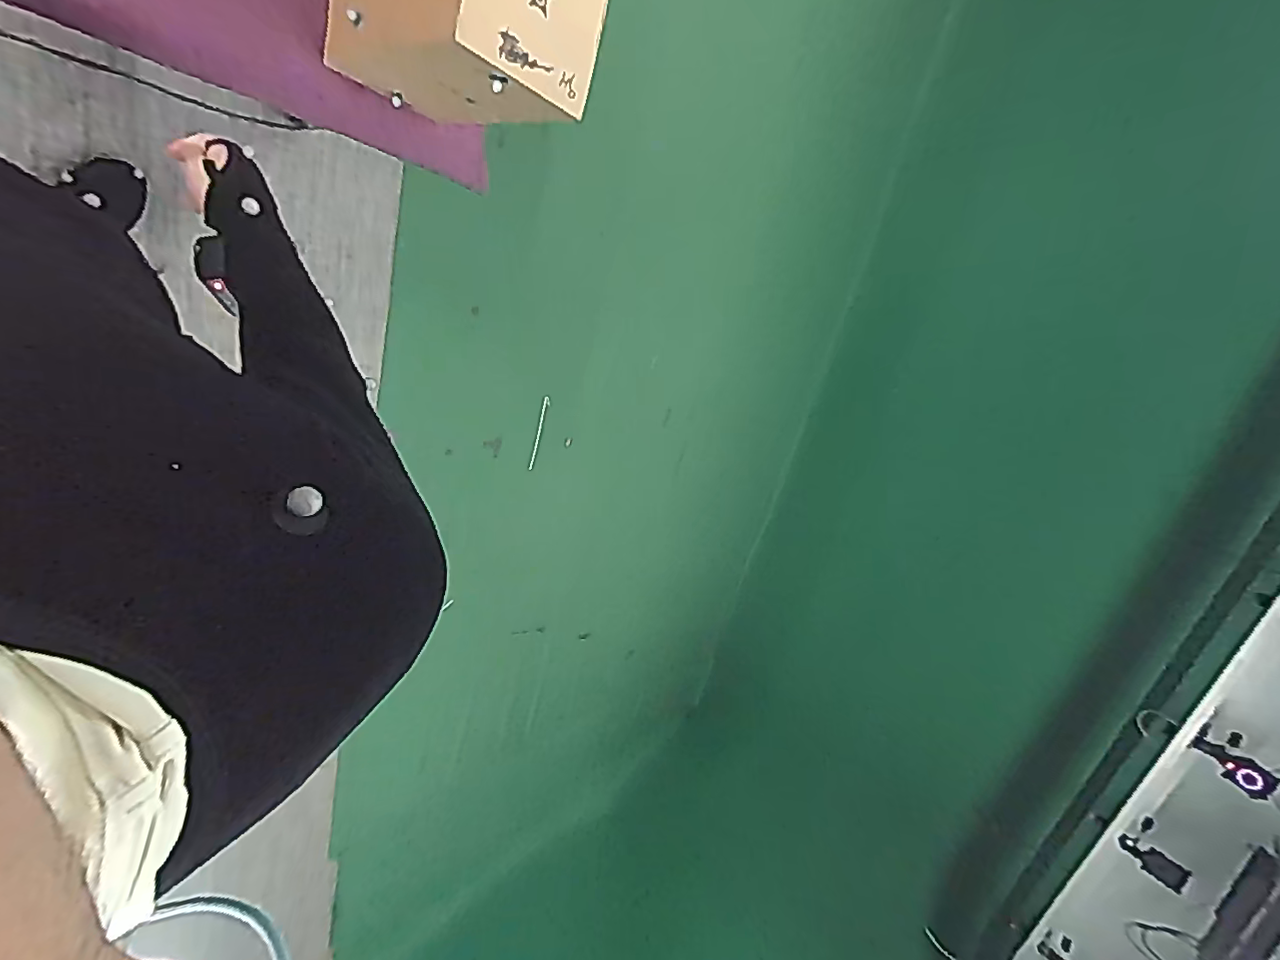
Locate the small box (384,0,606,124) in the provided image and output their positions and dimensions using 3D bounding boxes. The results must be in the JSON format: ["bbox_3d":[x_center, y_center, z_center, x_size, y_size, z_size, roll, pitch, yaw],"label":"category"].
[{"bbox_3d":[-0.159,-0.524,0.593,0.168,0.176,0.179,-2,113,-49],"label":"small box"}]
